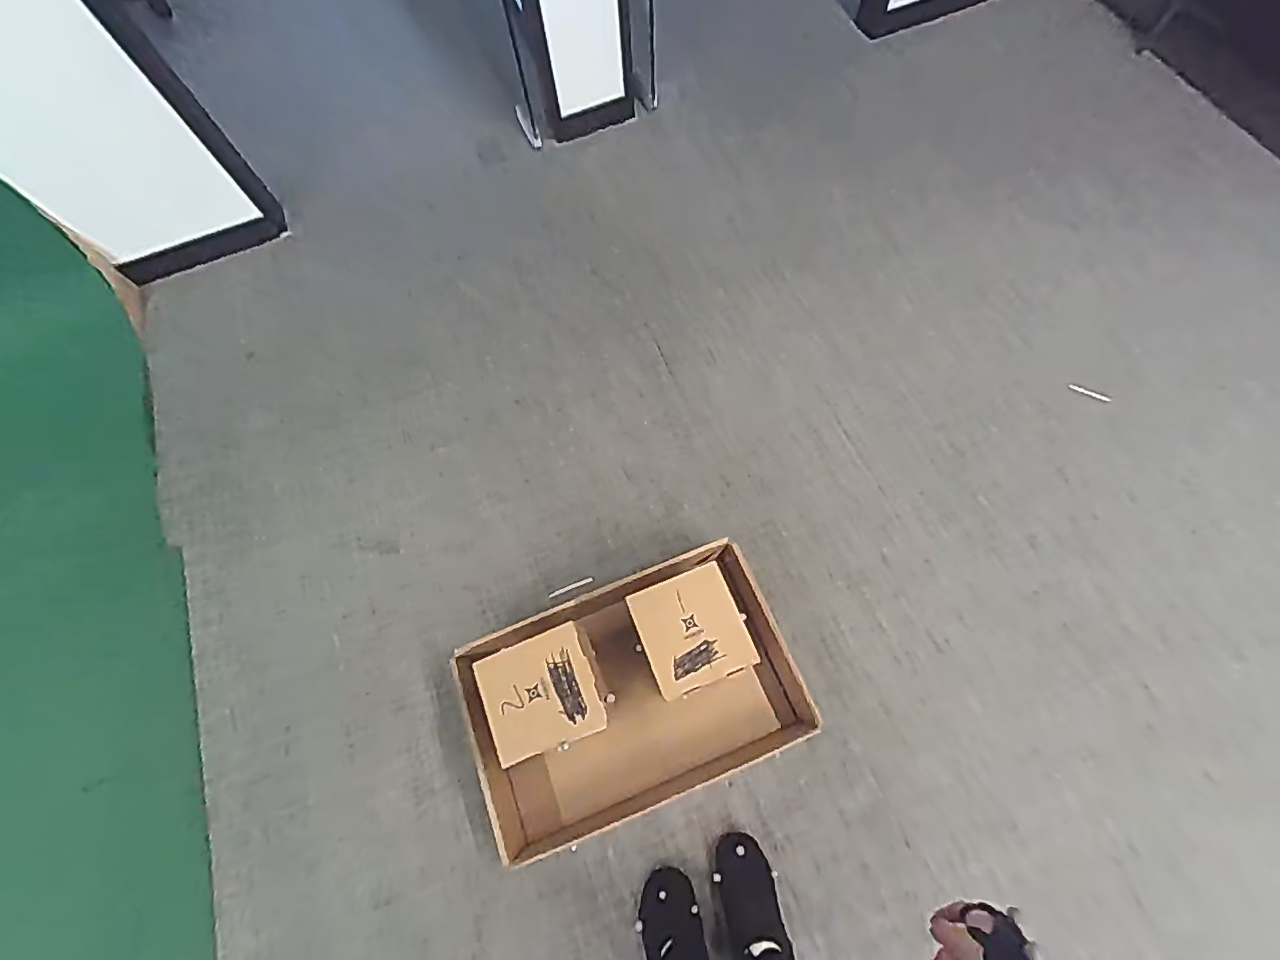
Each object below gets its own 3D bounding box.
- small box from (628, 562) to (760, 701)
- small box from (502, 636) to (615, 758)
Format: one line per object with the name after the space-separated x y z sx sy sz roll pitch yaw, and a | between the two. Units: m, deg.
0.090 0.266 0.944 0.168 0.176 0.179 -22 70 -5 | small box
-0.155 0.426 1.075 0.168 0.176 0.179 -18 69 -5 | small box
